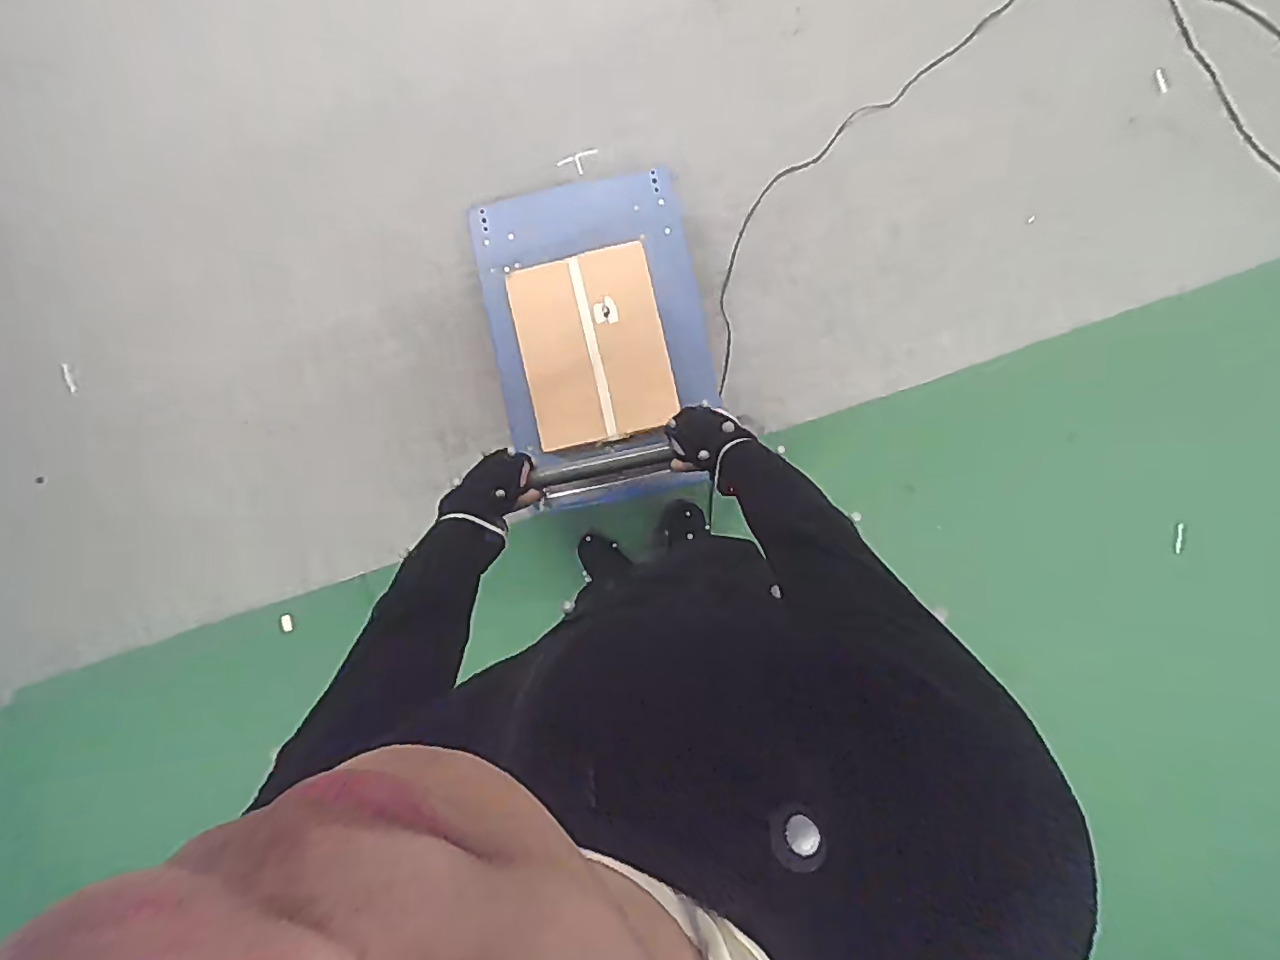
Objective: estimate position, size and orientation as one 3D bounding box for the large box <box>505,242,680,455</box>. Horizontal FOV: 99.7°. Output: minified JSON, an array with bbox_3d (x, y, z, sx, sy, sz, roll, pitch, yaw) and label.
[{"bbox_3d":[-0.098,-0.295,1.335,0.320,0.320,0.408,-13,89,2],"label":"large box"}]
